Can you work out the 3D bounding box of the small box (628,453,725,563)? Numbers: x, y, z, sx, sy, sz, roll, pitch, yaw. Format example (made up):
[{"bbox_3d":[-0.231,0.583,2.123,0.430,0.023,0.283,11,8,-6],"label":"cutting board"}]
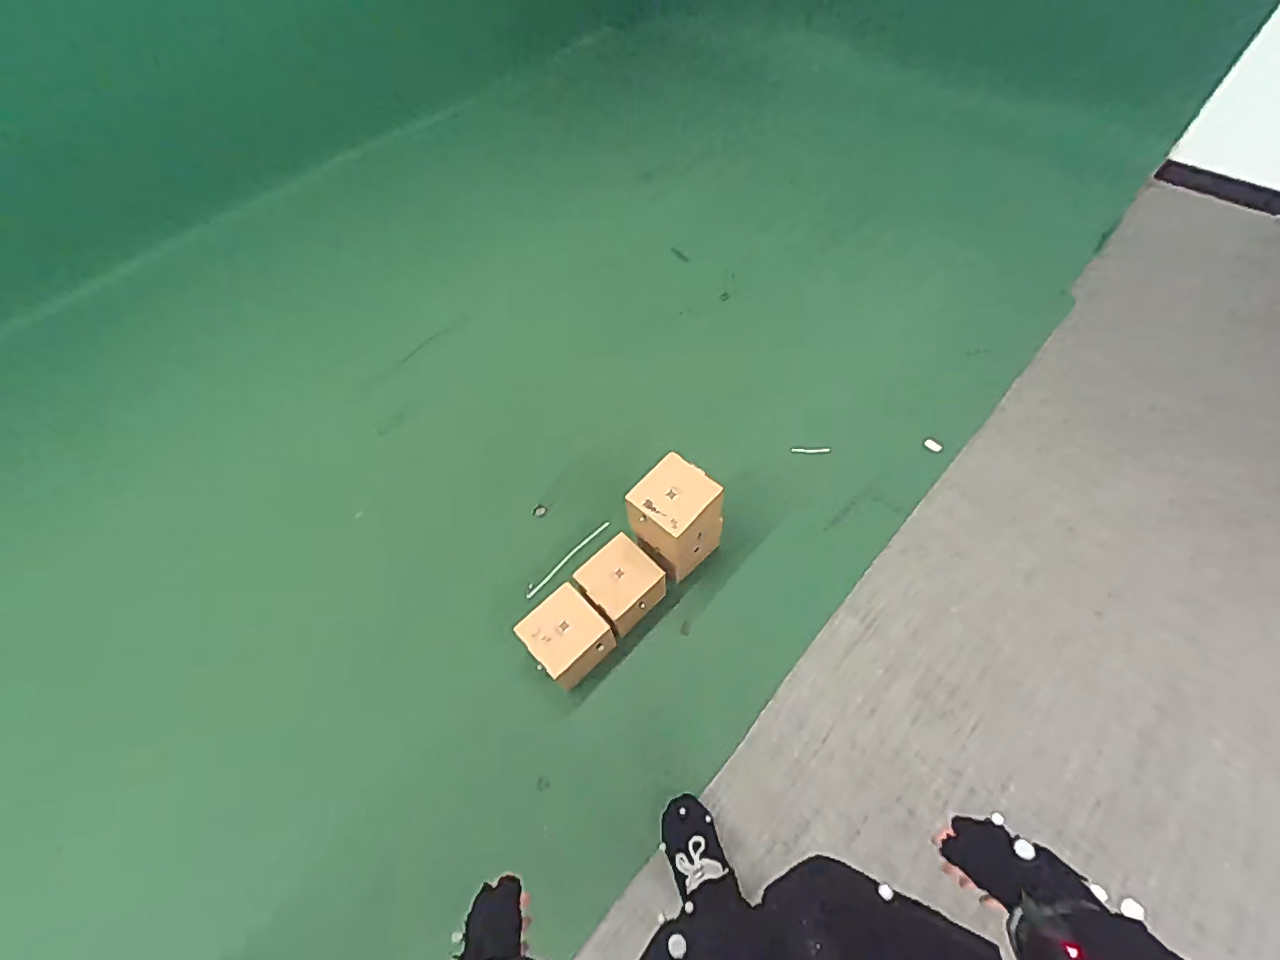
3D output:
[{"bbox_3d":[0.088,0.073,1.350,0.168,0.176,0.179,38,68,23],"label":"small box"}]
